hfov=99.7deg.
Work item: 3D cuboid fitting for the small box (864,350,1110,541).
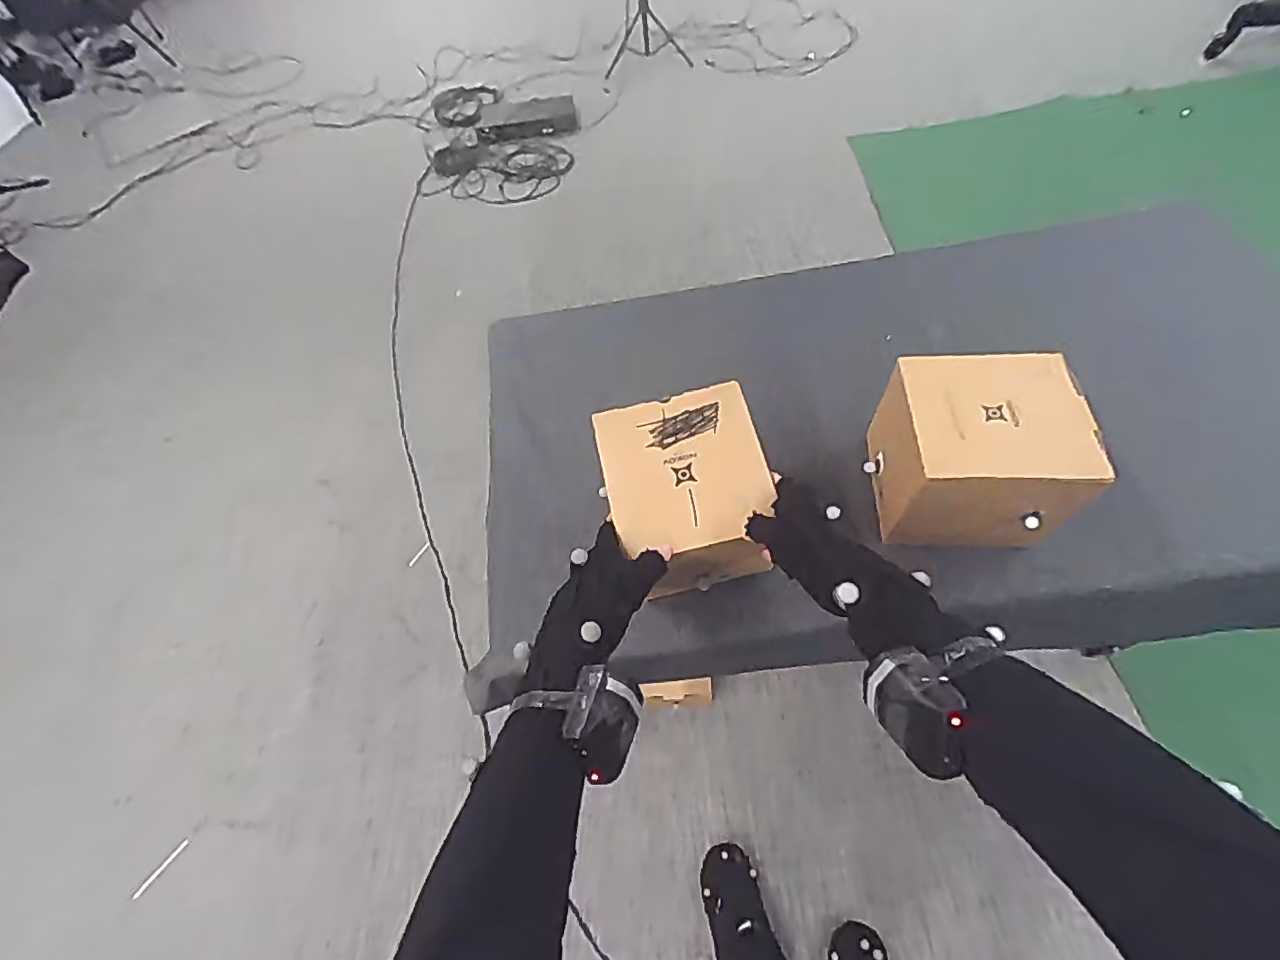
[{"bbox_3d":[0.388,-0.035,0.645,0.179,0.176,0.168,0,59,7],"label":"small box"}]

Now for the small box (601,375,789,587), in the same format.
[{"bbox_3d":[0.059,0.009,0.632,0.168,0.176,0.179,-13,66,2],"label":"small box"}]
